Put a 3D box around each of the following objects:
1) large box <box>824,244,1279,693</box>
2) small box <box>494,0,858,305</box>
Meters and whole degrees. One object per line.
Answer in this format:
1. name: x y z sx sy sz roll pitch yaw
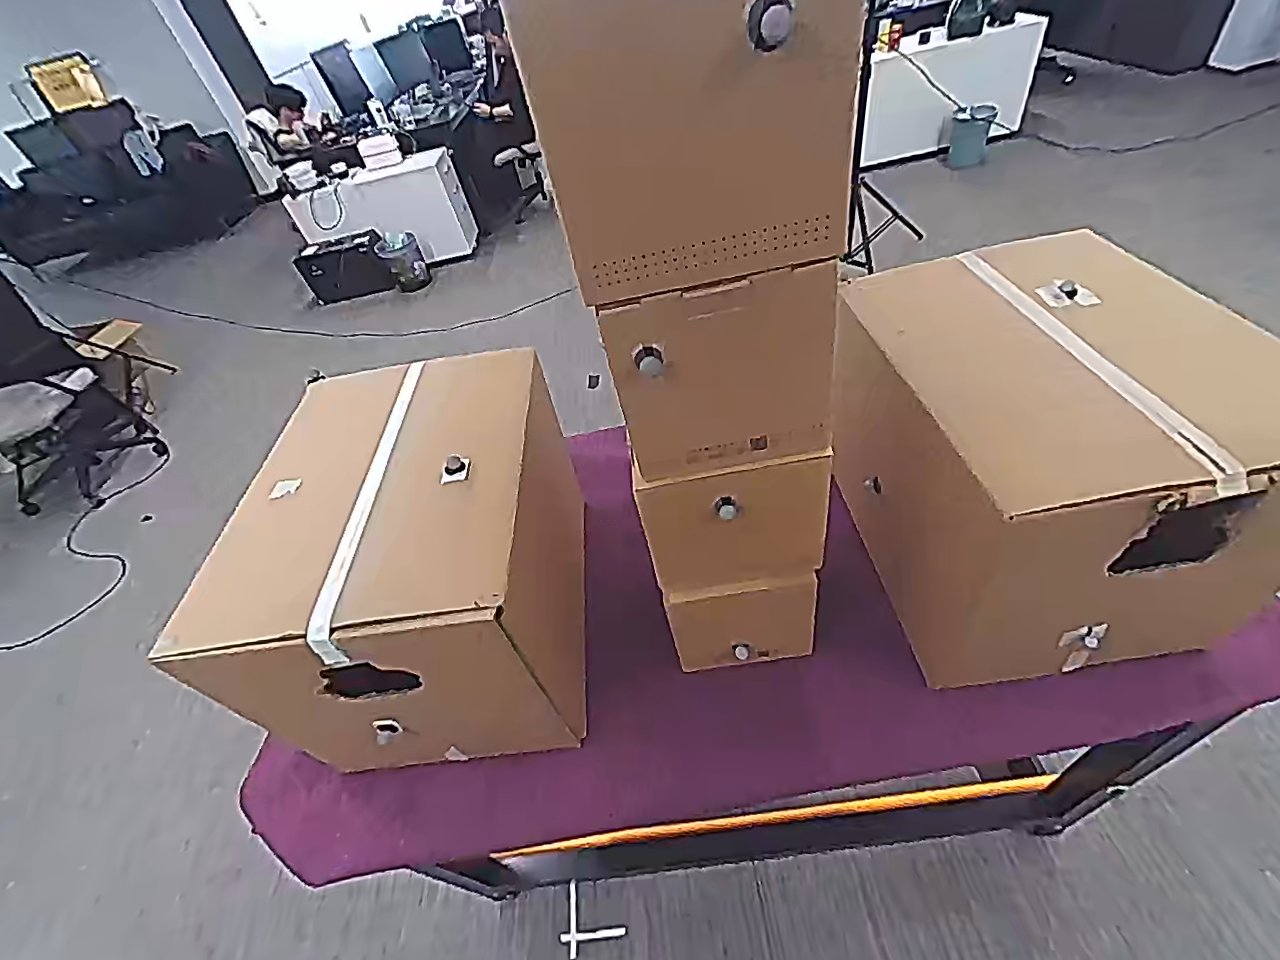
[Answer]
1. large box: 0.437 -0.024 0.642 0.320 0.320 0.408 -11 43 4
2. small box: 0.028 -0.240 0.358 0.179 0.176 0.168 -10 43 6
